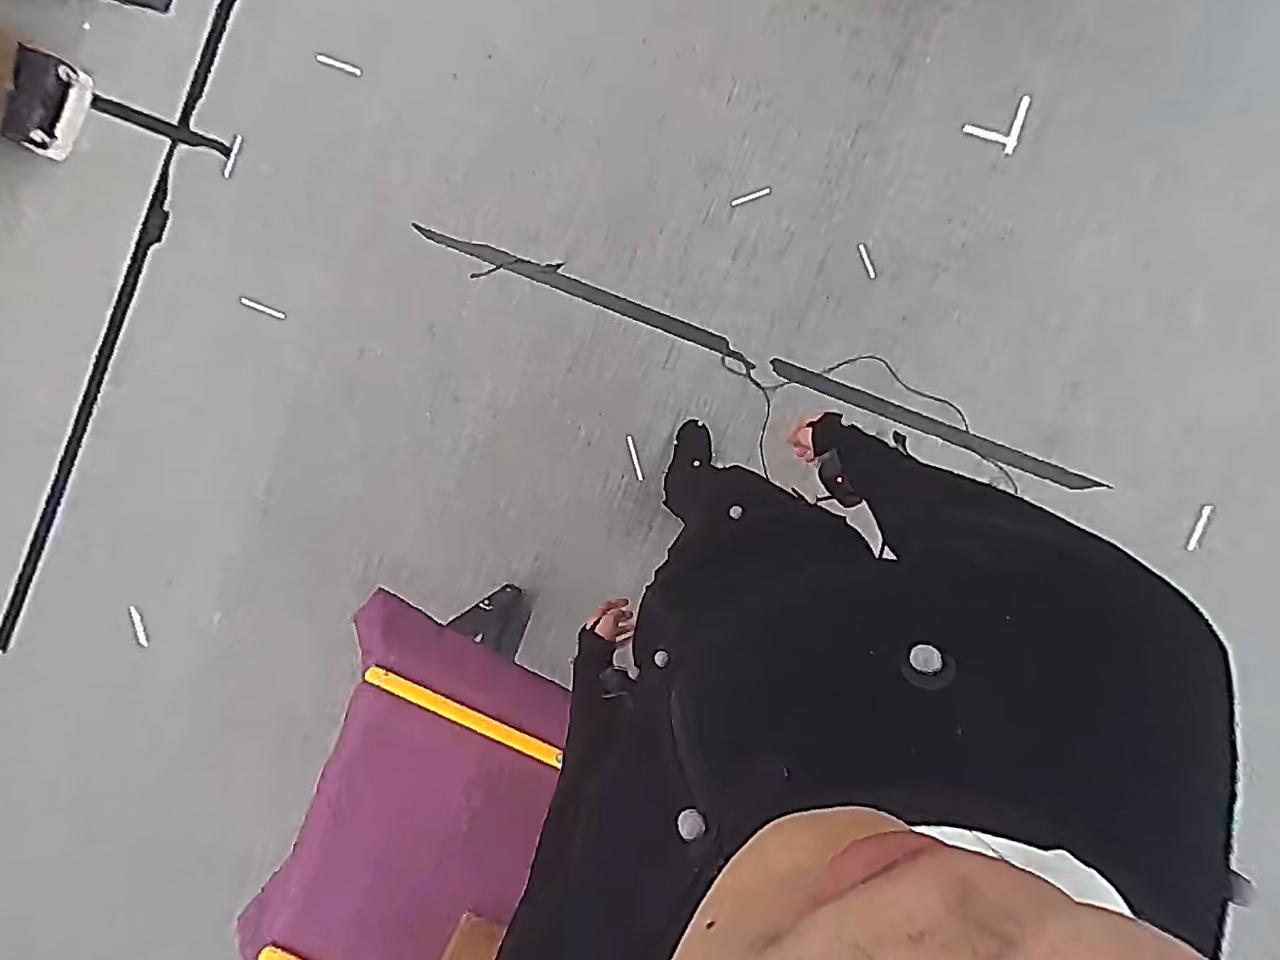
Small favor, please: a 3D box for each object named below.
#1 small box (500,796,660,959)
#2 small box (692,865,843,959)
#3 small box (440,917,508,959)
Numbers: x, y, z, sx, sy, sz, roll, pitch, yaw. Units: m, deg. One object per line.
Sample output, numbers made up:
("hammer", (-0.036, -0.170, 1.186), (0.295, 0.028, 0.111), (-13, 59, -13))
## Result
("small box", (-0.080, 0.626, 0.827), (0.179, 0.176, 0.168), (24, 93, 2))
("small box", (0.185, 0.730, 0.810), (0.179, 0.176, 0.168), (21, 91, 4))
("small box", (-0.256, 0.836, 0.837), (0.179, 0.176, 0.168), (23, 90, 3))
